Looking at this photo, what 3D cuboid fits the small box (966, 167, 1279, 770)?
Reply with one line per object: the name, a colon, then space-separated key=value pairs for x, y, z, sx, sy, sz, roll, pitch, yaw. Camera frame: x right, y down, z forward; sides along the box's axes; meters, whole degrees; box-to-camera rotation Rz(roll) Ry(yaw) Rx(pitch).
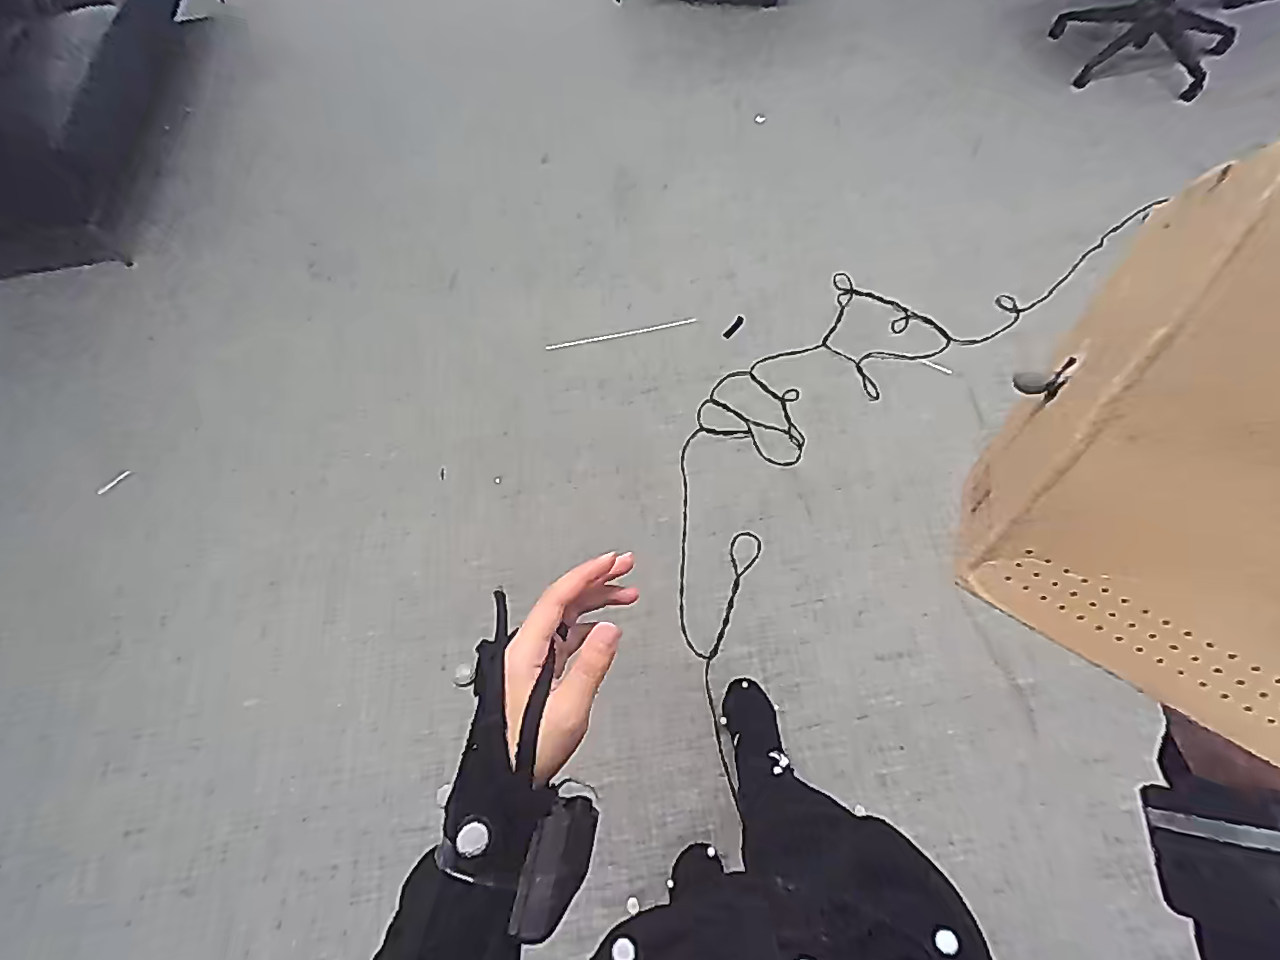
small box: x=0.264 y=0.001 z=0.221 sx=0.179 sy=0.176 sz=0.168 roll=30 pitch=30 yaw=21
